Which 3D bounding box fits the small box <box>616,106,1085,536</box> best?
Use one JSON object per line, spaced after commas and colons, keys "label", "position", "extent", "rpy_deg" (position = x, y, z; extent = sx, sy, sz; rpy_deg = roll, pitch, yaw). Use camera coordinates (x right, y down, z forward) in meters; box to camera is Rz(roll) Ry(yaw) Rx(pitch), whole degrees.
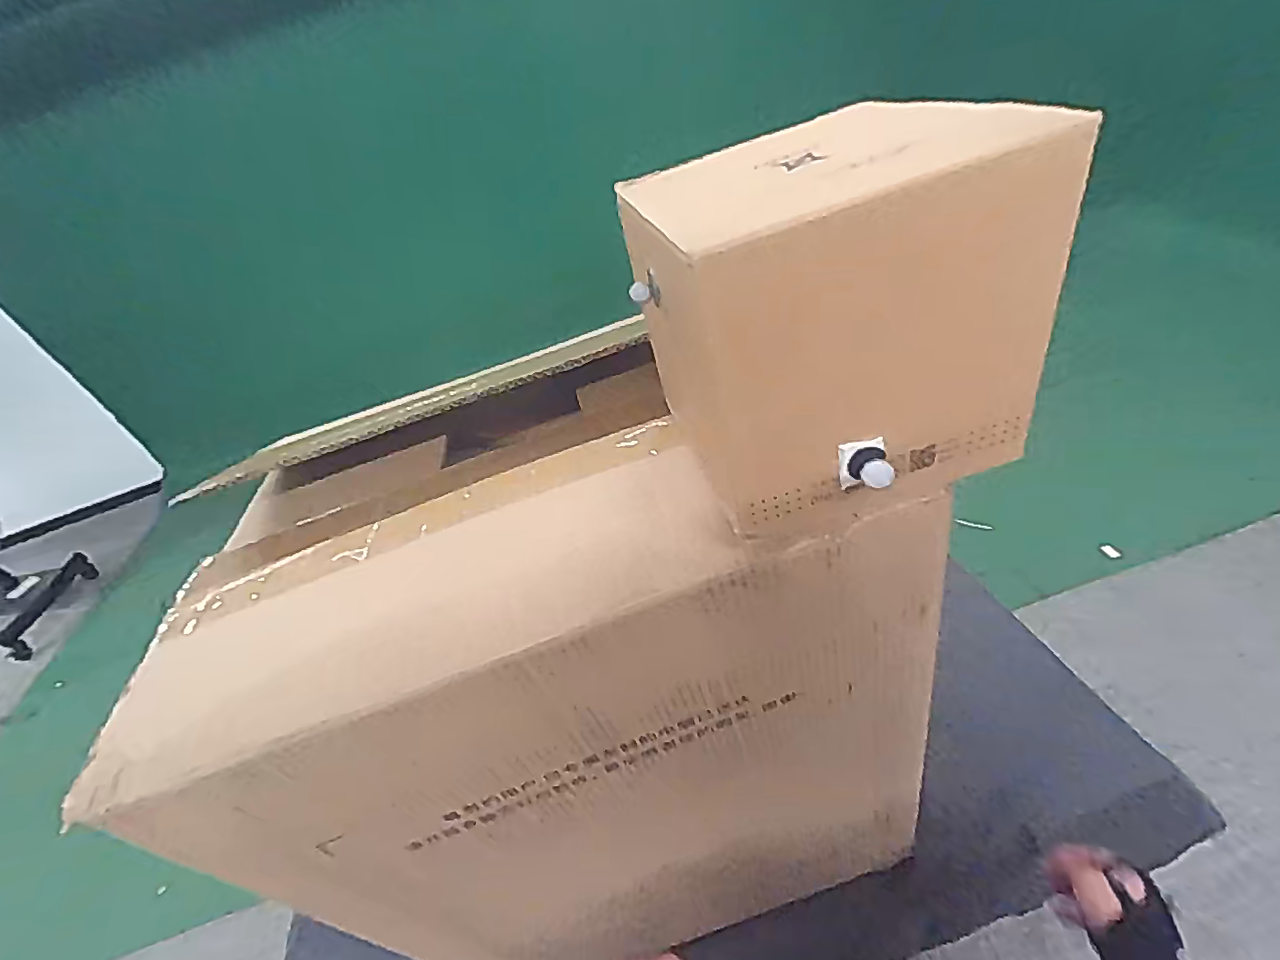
{"label": "small box", "position": [0.098, -0.098, 0.323], "extent": [0.168, 0.176, 0.179], "rpy_deg": [-20, 38, -1]}
